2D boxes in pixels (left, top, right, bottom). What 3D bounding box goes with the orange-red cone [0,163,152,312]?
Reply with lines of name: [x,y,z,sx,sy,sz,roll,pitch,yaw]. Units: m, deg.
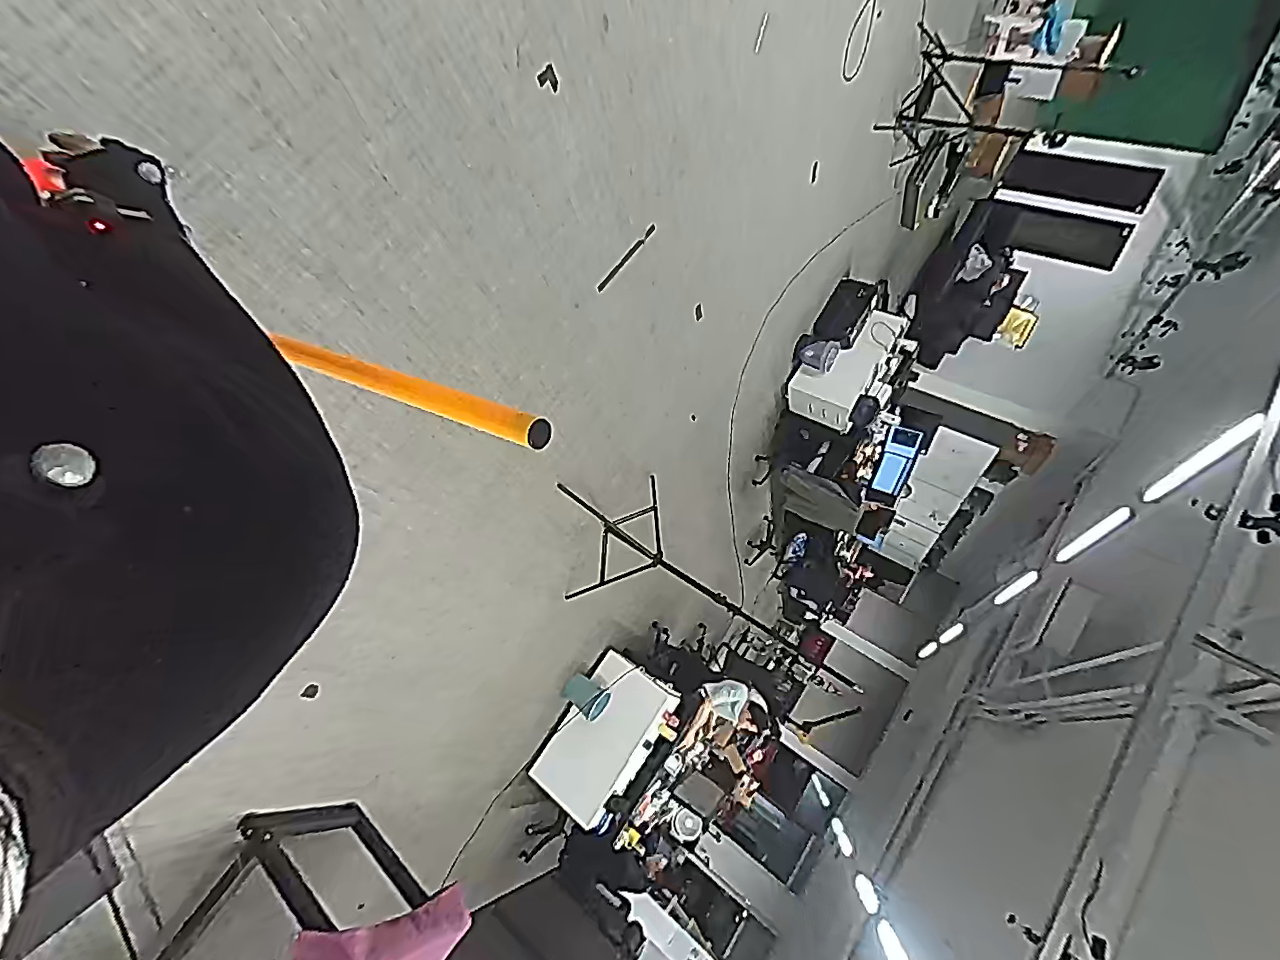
orange-red cone: [-0.899,-0.349,0.885,0.199,0.360,0.198,-52,152,-16]
